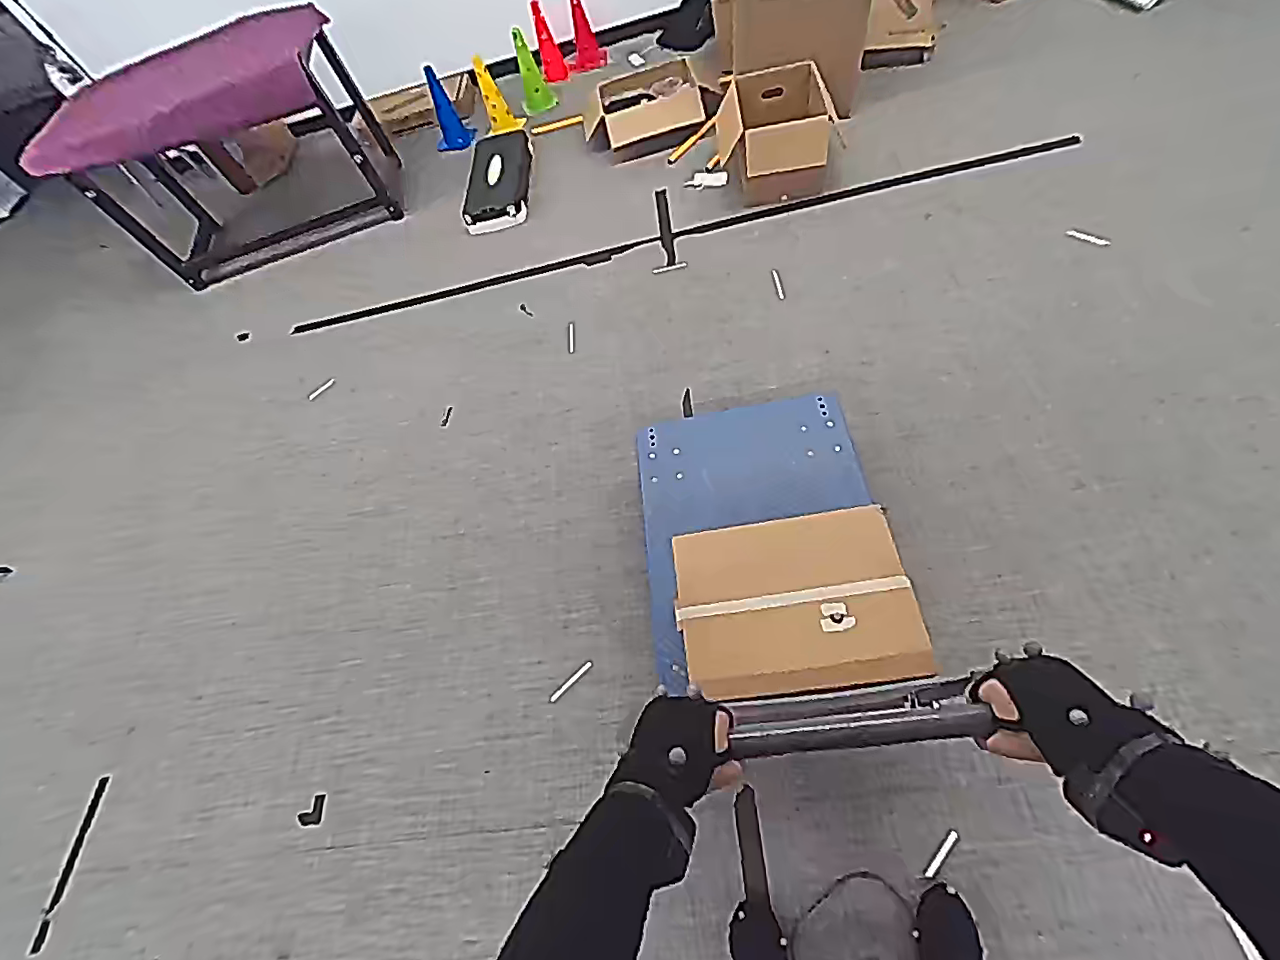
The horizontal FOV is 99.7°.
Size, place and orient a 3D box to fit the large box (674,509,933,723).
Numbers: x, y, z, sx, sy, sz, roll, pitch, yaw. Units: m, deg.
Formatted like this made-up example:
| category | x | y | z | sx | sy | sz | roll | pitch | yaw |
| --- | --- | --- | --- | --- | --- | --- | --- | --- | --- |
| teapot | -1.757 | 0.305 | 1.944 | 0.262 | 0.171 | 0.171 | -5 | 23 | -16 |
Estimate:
| category | x | y | z | sx | sy | sz | roll | pitch | yaw |
| --- | --- | --- | --- | --- | --- | --- | --- | --- | --- |
| large box | 0.301 | 0.294 | 1.110 | 0.408 | 0.320 | 0.320 | -10 | 60 | 6 |
